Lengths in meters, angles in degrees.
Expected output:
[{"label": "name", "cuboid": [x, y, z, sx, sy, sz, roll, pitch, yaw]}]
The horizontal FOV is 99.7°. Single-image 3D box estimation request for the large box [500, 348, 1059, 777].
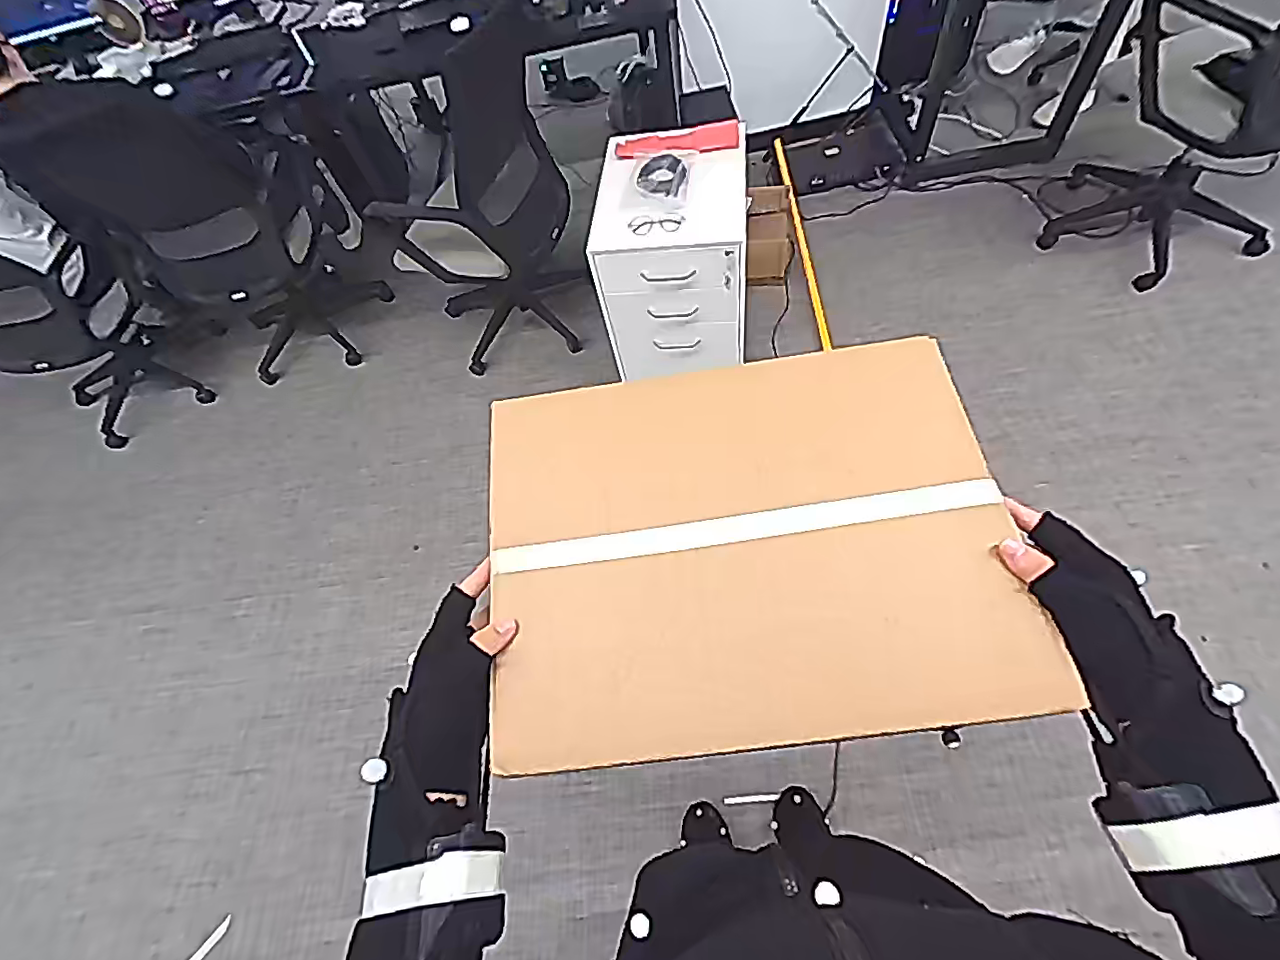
[{"label": "large box", "cuboid": [0.098, 0.105, 0.580, 0.408, 0.320, 0.320, -9, 65, 4]}]
